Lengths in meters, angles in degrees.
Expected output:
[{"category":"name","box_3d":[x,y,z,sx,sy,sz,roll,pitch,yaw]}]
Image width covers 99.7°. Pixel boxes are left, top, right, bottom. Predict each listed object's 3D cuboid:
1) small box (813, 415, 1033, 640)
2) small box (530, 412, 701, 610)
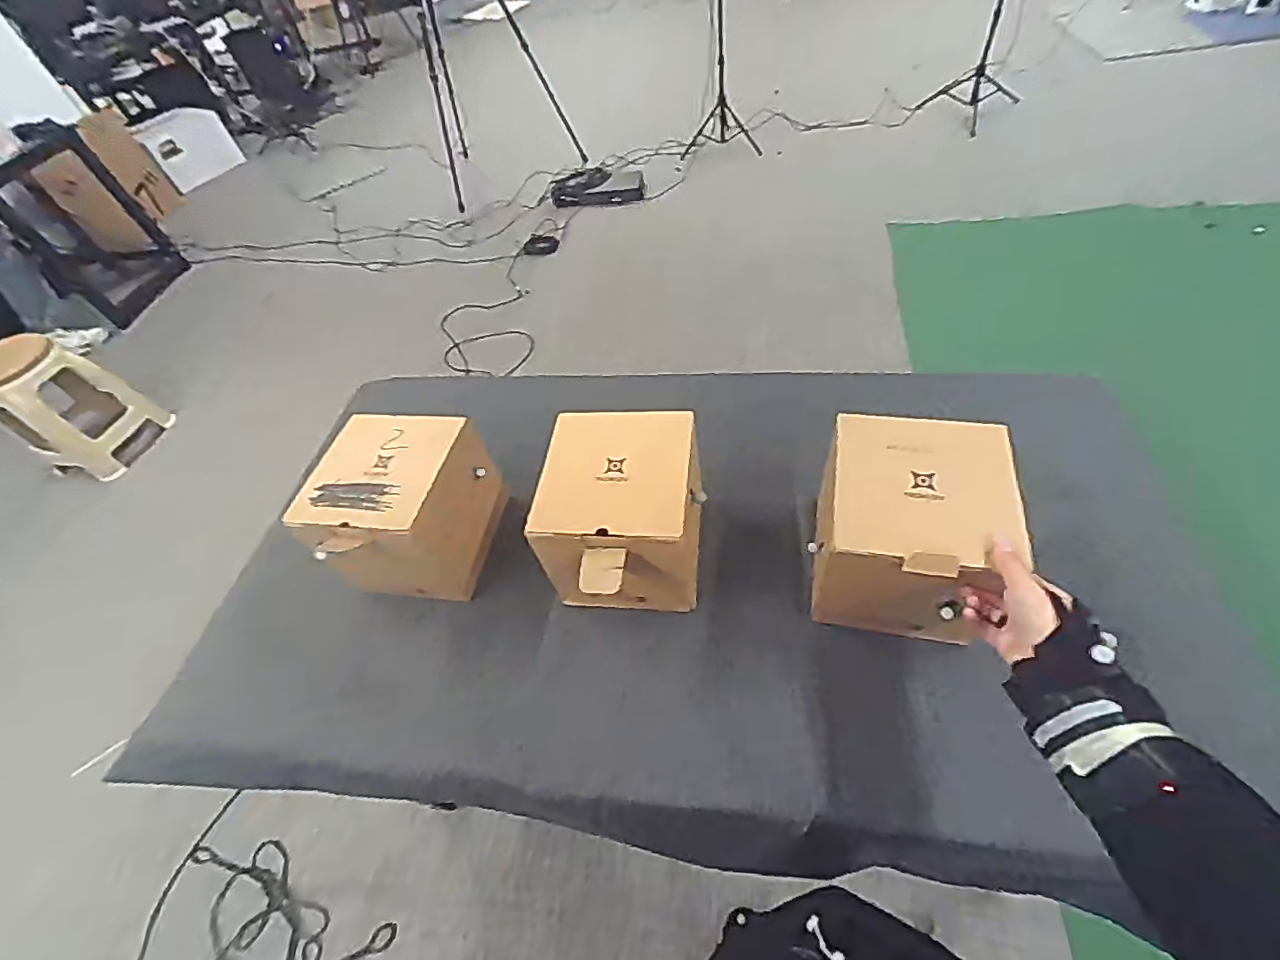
[{"category":"small box","box_3d":[0.285,0.054,0.586,0.168,0.176,0.179,7,54,13]},{"category":"small box","box_3d":[-0.015,0.038,0.656,0.168,0.176,0.179,1,53,11]}]
